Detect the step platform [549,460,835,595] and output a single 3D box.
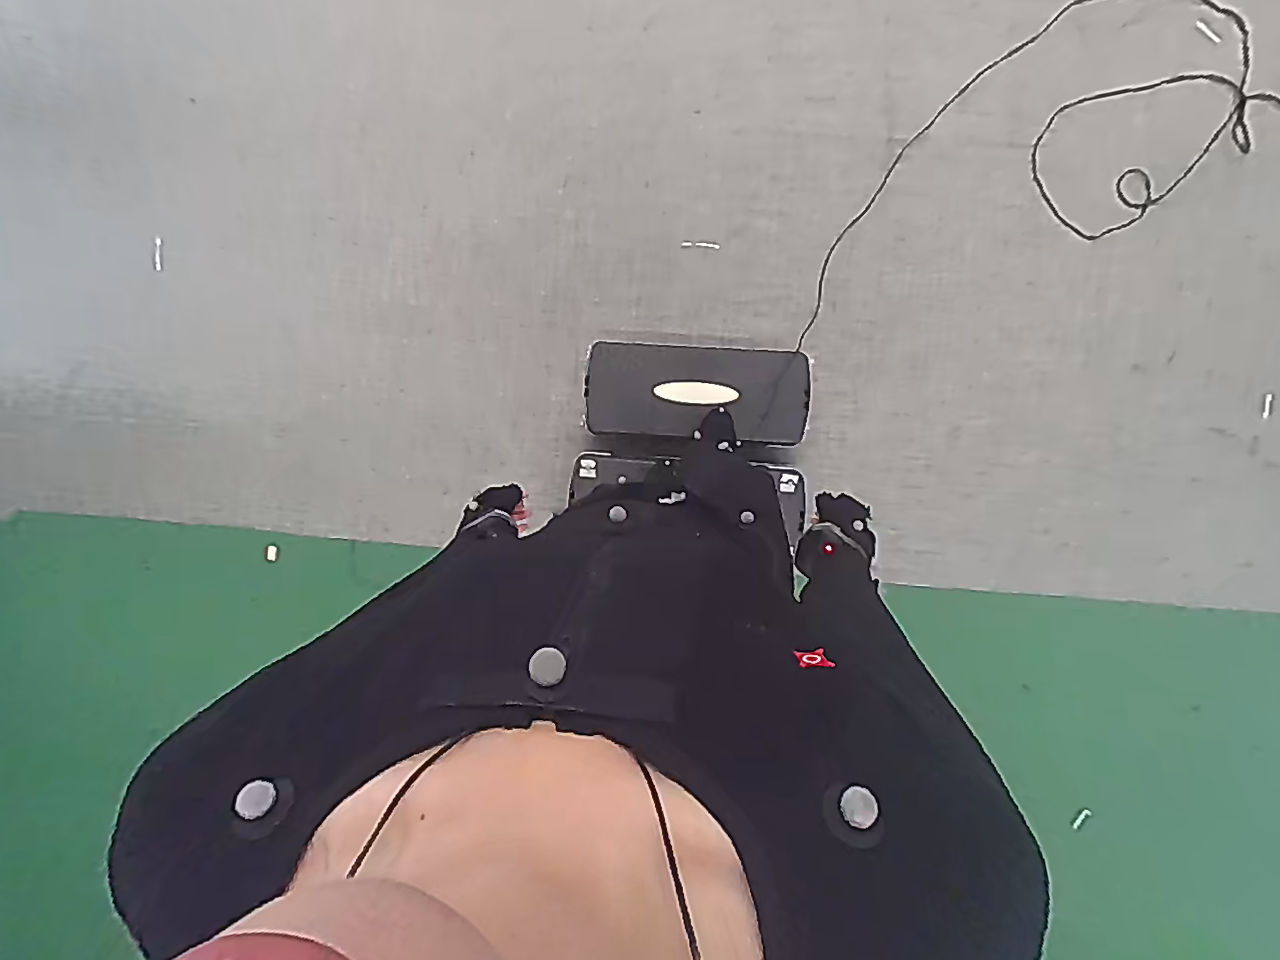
[{"bbox_3d":[0.125,0.111,1.386,0.684,0.204,0.286,4,93,2],"label":"step platform"}]
